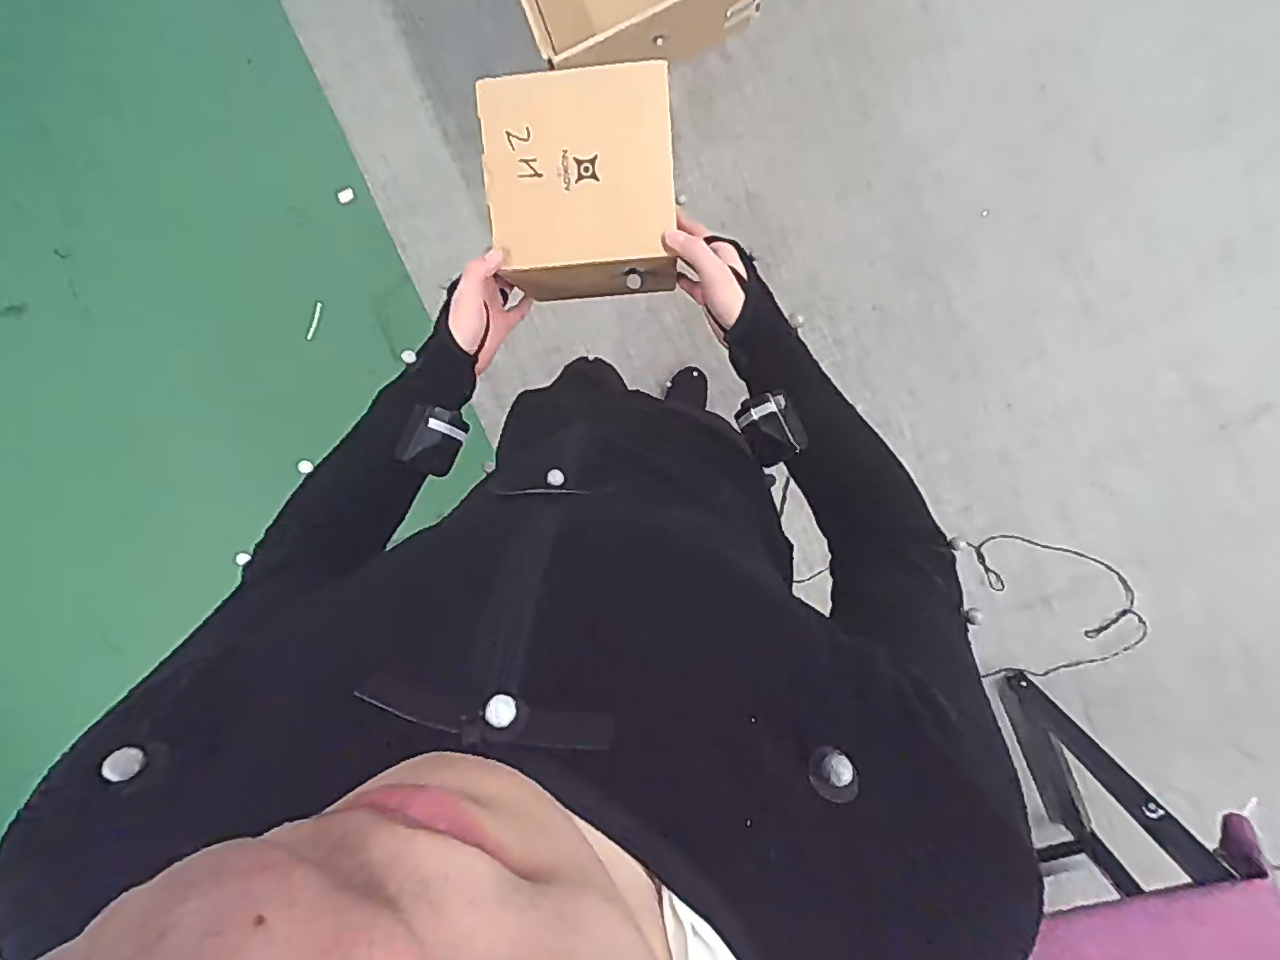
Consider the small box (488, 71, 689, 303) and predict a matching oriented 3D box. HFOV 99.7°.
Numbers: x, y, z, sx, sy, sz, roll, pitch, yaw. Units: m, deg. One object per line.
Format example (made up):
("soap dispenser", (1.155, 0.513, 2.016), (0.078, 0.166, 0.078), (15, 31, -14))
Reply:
("small box", (-0.043, -0.289, 0.571), (0.179, 0.176, 0.168), (-3, 98, 3))
